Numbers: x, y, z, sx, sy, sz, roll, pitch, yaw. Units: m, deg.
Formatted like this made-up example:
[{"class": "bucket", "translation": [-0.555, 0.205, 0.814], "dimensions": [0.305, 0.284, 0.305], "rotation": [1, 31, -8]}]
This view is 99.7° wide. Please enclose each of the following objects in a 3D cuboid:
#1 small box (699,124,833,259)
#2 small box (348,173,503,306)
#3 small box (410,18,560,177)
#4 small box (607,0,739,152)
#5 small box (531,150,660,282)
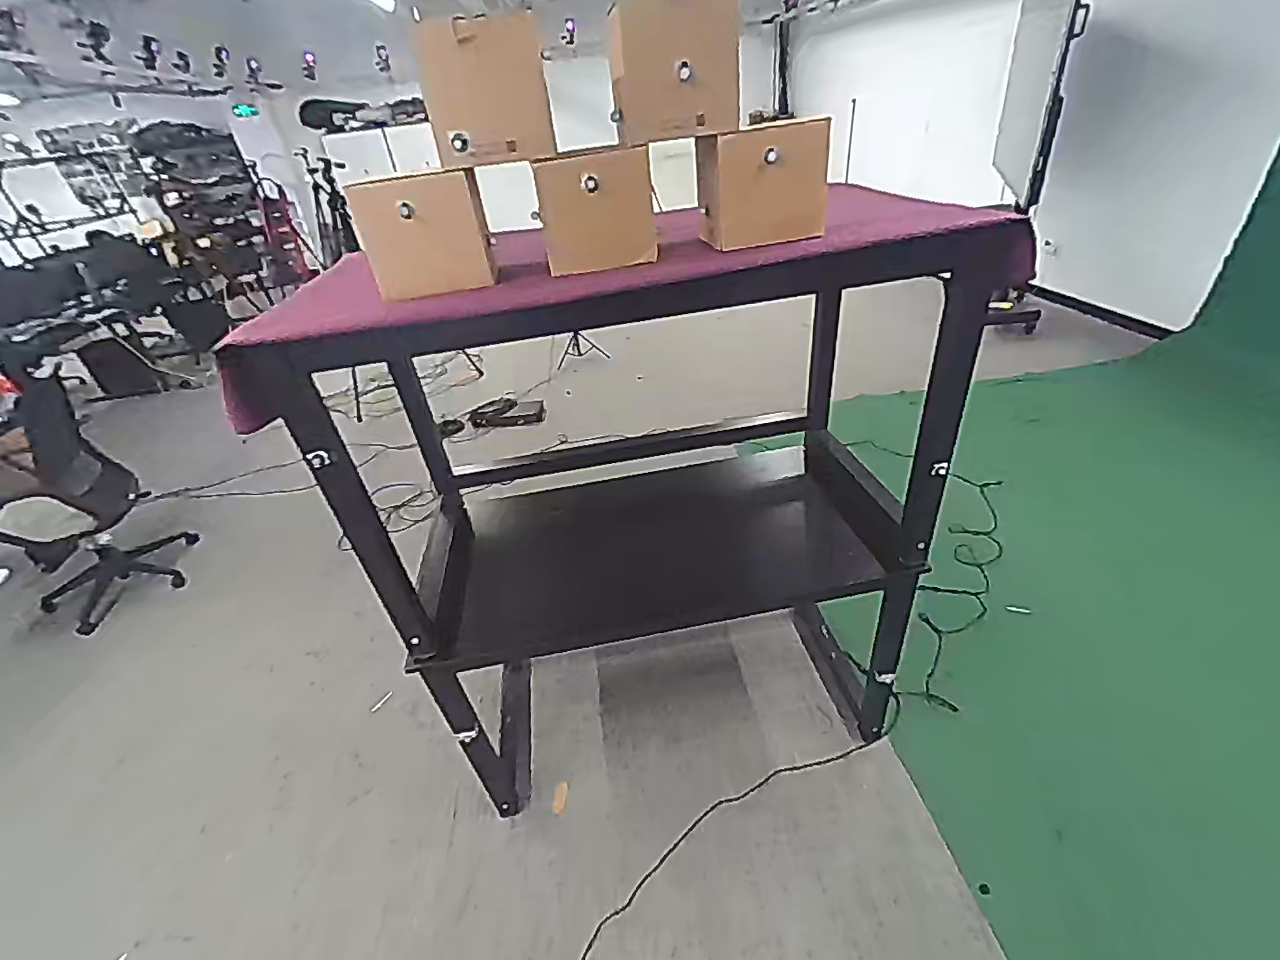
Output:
[{"class": "small box", "translation": [0.202, -0.485, 0.908], "dimensions": [0.179, 0.176, 0.168], "rotation": [-11, 33, -2]}, {"class": "small box", "translation": [-0.336, -0.395, 0.885], "dimensions": [0.179, 0.176, 0.168], "rotation": [-11, 35, -5]}, {"class": "small box", "translation": [-0.215, -0.557, 0.806], "dimensions": [0.168, 0.176, 0.179], "rotation": [-8, 33, -2]}, {"class": "small box", "translation": [0.050, -0.602, 0.820], "dimensions": [0.168, 0.176, 0.179], "rotation": [-10, 34, -3]}, {"class": "small box", "translation": [-0.071, -0.435, 0.891], "dimensions": [0.179, 0.176, 0.168], "rotation": [-10, 34, -3]}]
